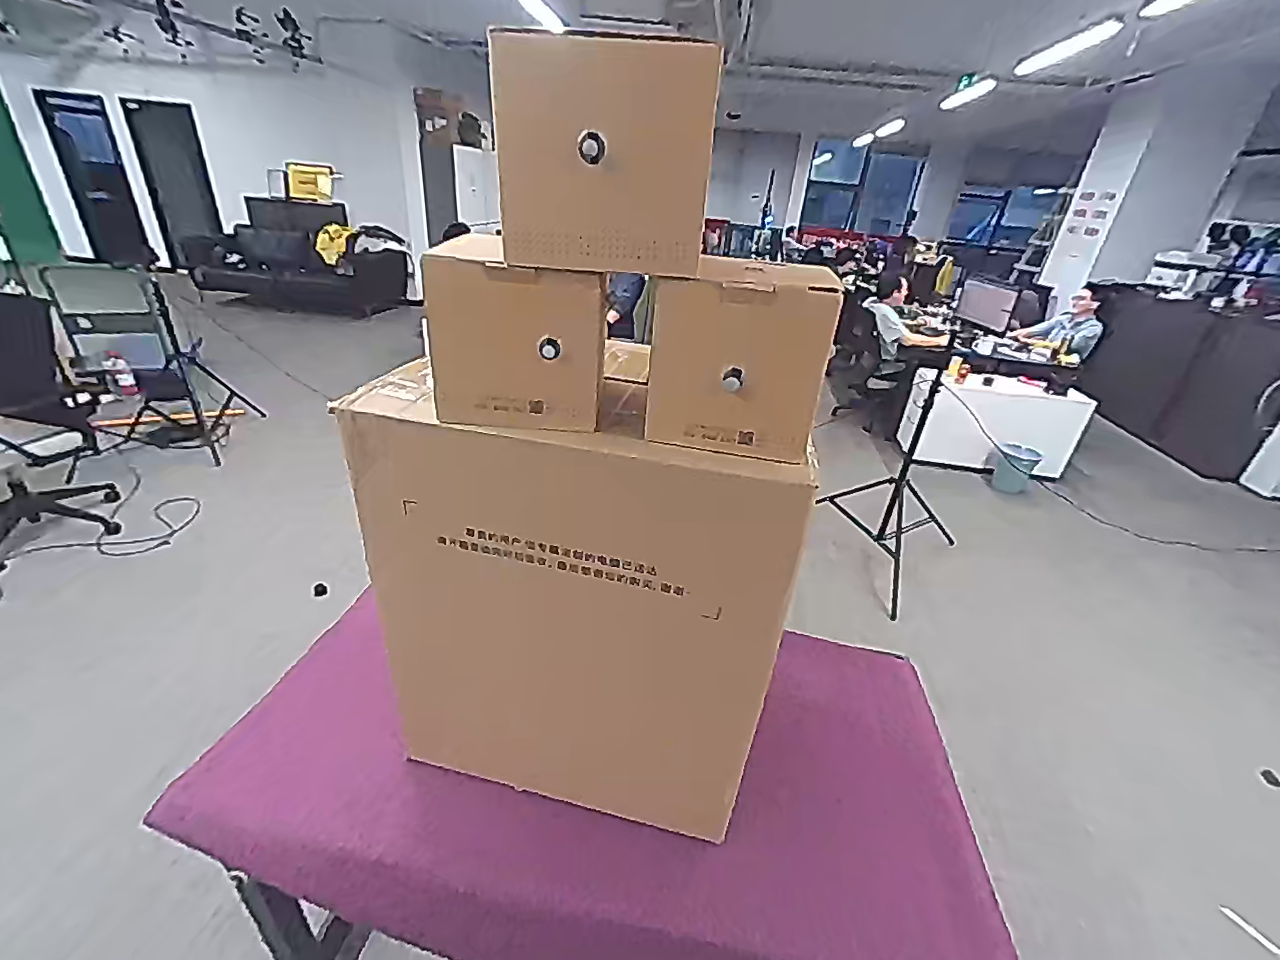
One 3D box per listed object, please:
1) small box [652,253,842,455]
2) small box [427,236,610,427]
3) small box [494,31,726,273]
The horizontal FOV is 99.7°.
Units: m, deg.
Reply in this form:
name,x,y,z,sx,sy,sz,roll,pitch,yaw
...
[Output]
name,x,y,z,sx,sy,sz,roll,pitch,yaw
small box,0.110,-0.142,0.588,0.168,0.176,0.179,10,30,9
small box,-0.120,-0.168,0.606,0.168,0.176,0.179,5,28,-4
small box,-0.021,-0.296,0.508,0.179,0.176,0.168,4,30,3
